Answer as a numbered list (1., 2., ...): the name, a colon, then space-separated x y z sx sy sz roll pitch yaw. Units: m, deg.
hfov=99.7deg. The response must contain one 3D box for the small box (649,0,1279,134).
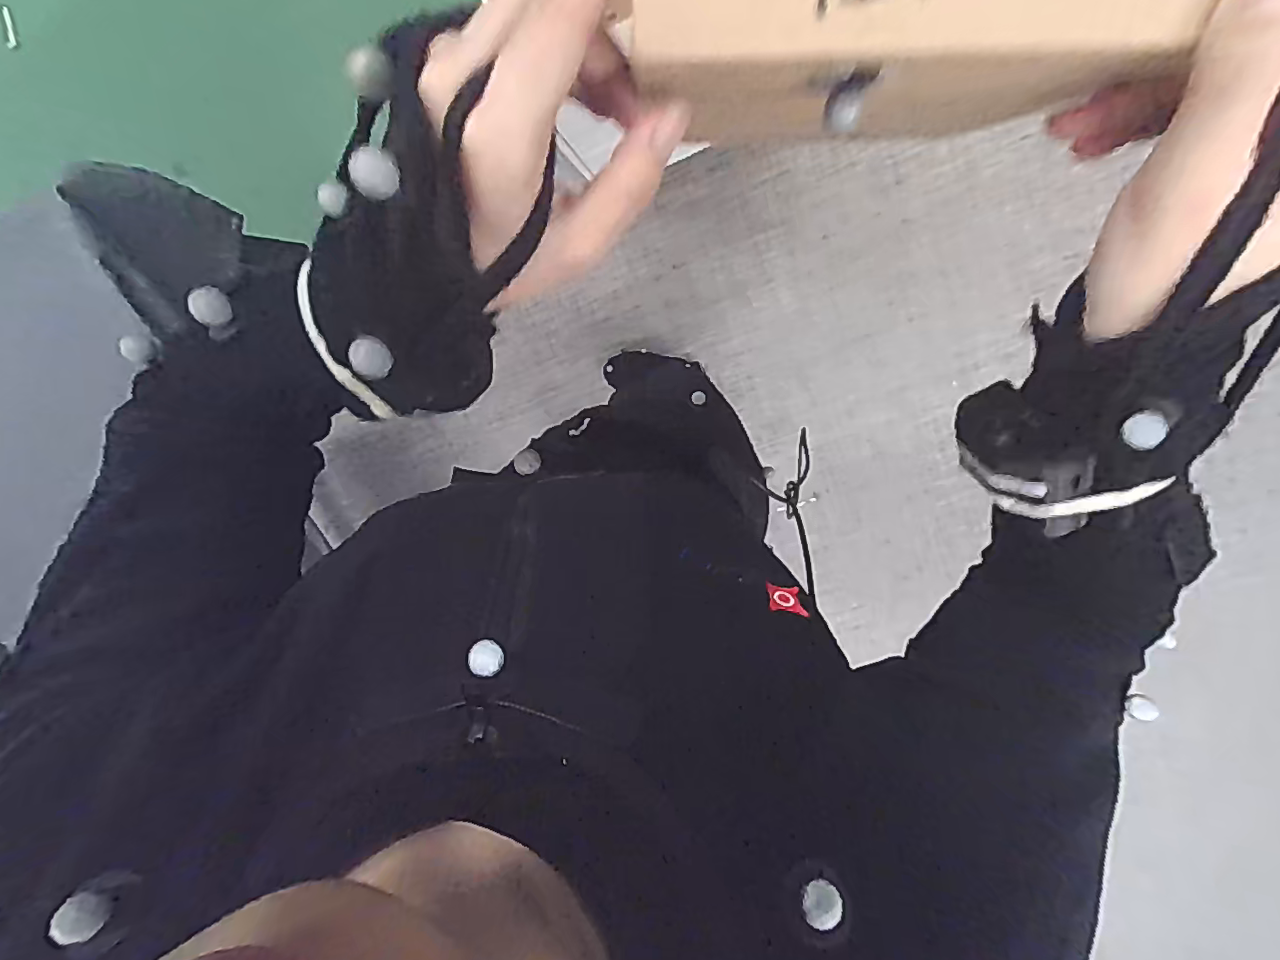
1. small box: 0.087 -0.231 0.177 0.168 0.176 0.179 1 115 1

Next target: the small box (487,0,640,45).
1. small box: -0.092 -0.558 0.508 0.168 0.176 0.179 -19 104 10
